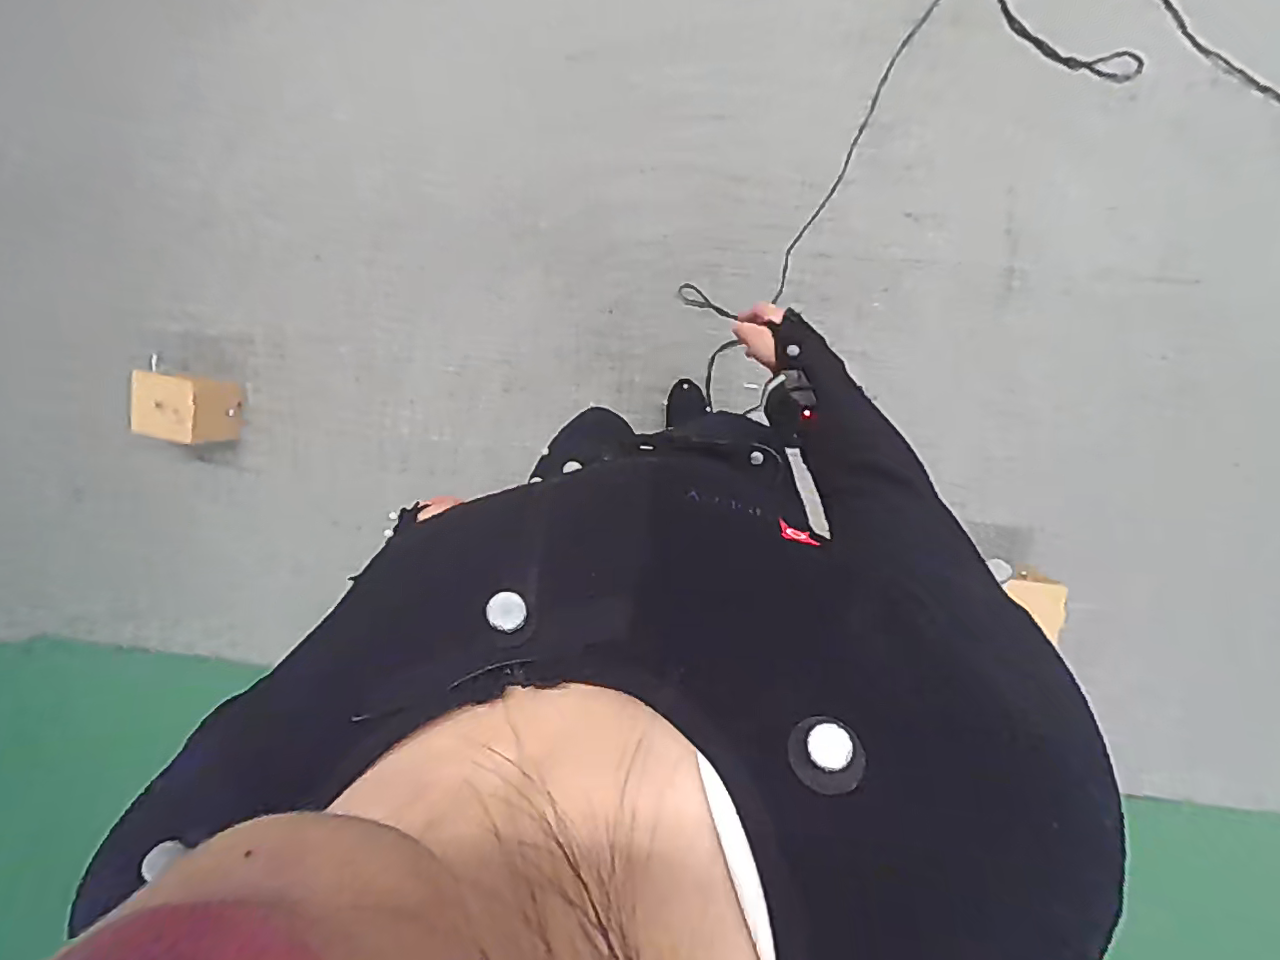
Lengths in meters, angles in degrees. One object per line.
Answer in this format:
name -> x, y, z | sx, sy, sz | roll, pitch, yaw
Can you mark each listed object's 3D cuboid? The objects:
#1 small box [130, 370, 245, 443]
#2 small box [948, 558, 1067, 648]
small box -> -1.239, -0.202, 1.487 | 0.179, 0.176, 0.168 | 11, 100, 4
small box -> 0.908, 0.300, 1.351 | 0.179, 0.176, 0.168 | 5, 98, 6
